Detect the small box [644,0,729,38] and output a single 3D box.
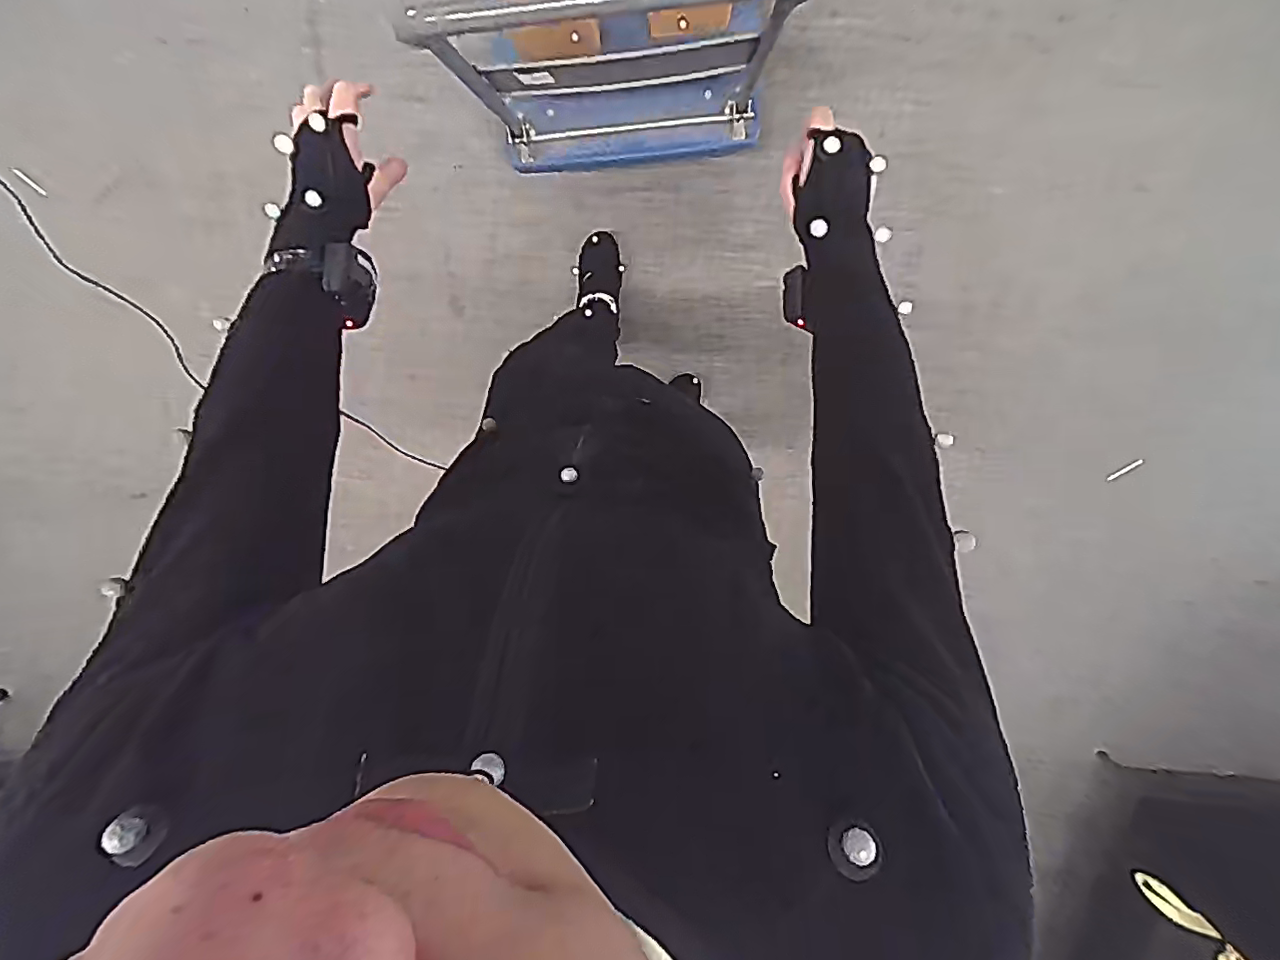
[{"bbox_3d":[0.088,-1.016,1.060,0.168,0.176,0.179,-3,108,4],"label":"small box"}]
